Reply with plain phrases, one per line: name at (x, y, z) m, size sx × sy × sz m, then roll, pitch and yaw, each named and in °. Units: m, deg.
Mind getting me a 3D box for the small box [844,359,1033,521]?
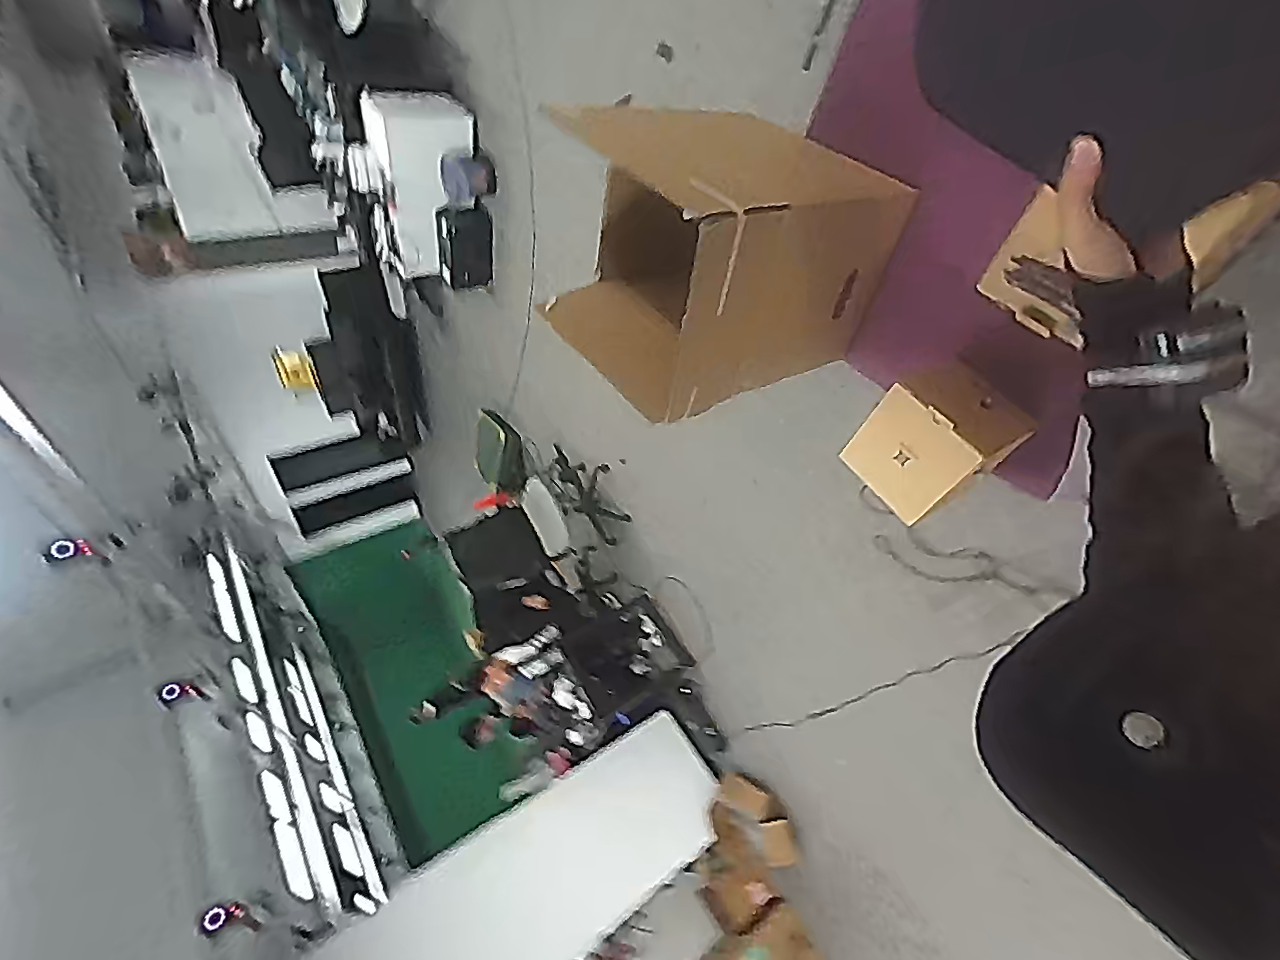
small box at (0.477, -0.067, 0.872) m, size 0.168 × 0.176 × 0.179 m, roll 52°, pitch 146°, yaw 26°
